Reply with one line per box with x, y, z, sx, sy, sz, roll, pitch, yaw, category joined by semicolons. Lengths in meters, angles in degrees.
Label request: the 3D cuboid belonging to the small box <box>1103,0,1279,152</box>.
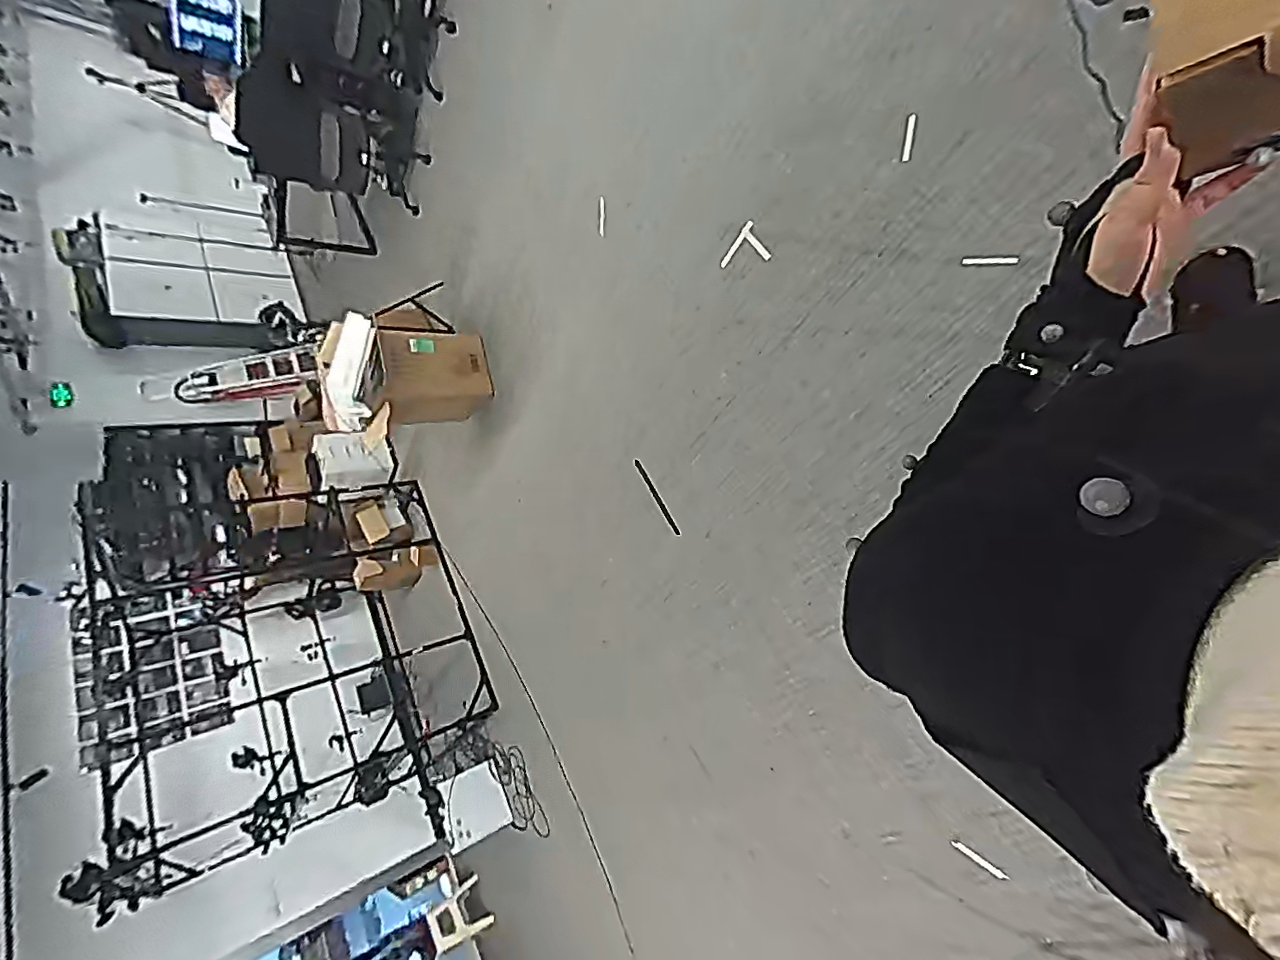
0.313;-0.271;0.227;0.168;0.176;0.179;-4;94;48;small box
